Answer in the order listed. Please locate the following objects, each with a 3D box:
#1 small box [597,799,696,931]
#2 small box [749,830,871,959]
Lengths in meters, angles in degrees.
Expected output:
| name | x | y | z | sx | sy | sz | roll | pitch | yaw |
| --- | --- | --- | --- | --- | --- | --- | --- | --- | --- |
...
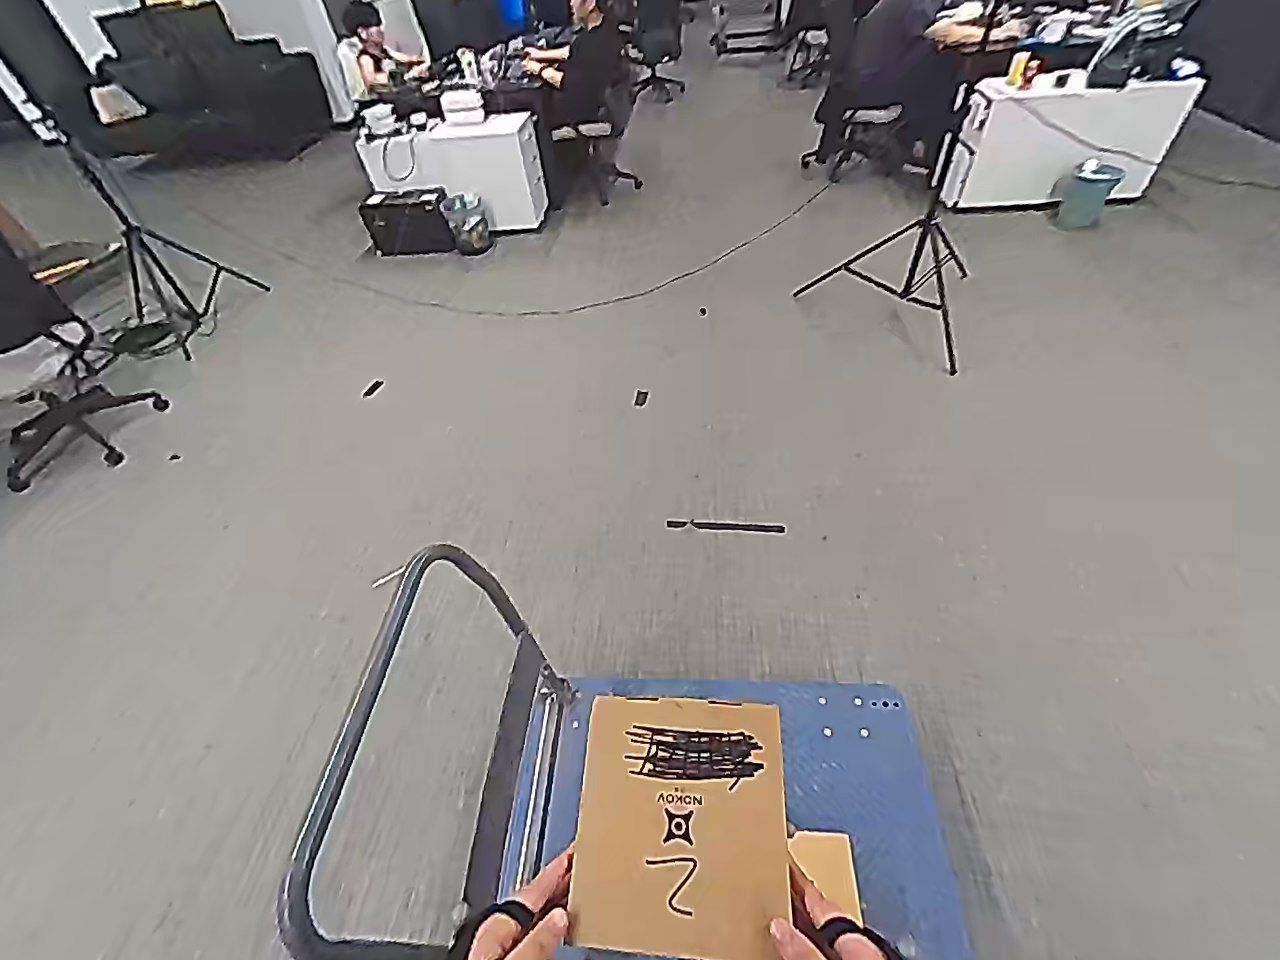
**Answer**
| name | x | y | z | sx | sy | sz | roll | pitch | yaw |
| --- | --- | --- | --- | --- | --- | --- | --- | --- | --- |
| small box | 0.019 | 0.716 | 1.005 | 0.168 | 0.176 | 0.179 | -2 | 47 | 6 |
| small box | 0.286 | 0.740 | 0.953 | 0.168 | 0.176 | 0.179 | -1 | 47 | 6 |
